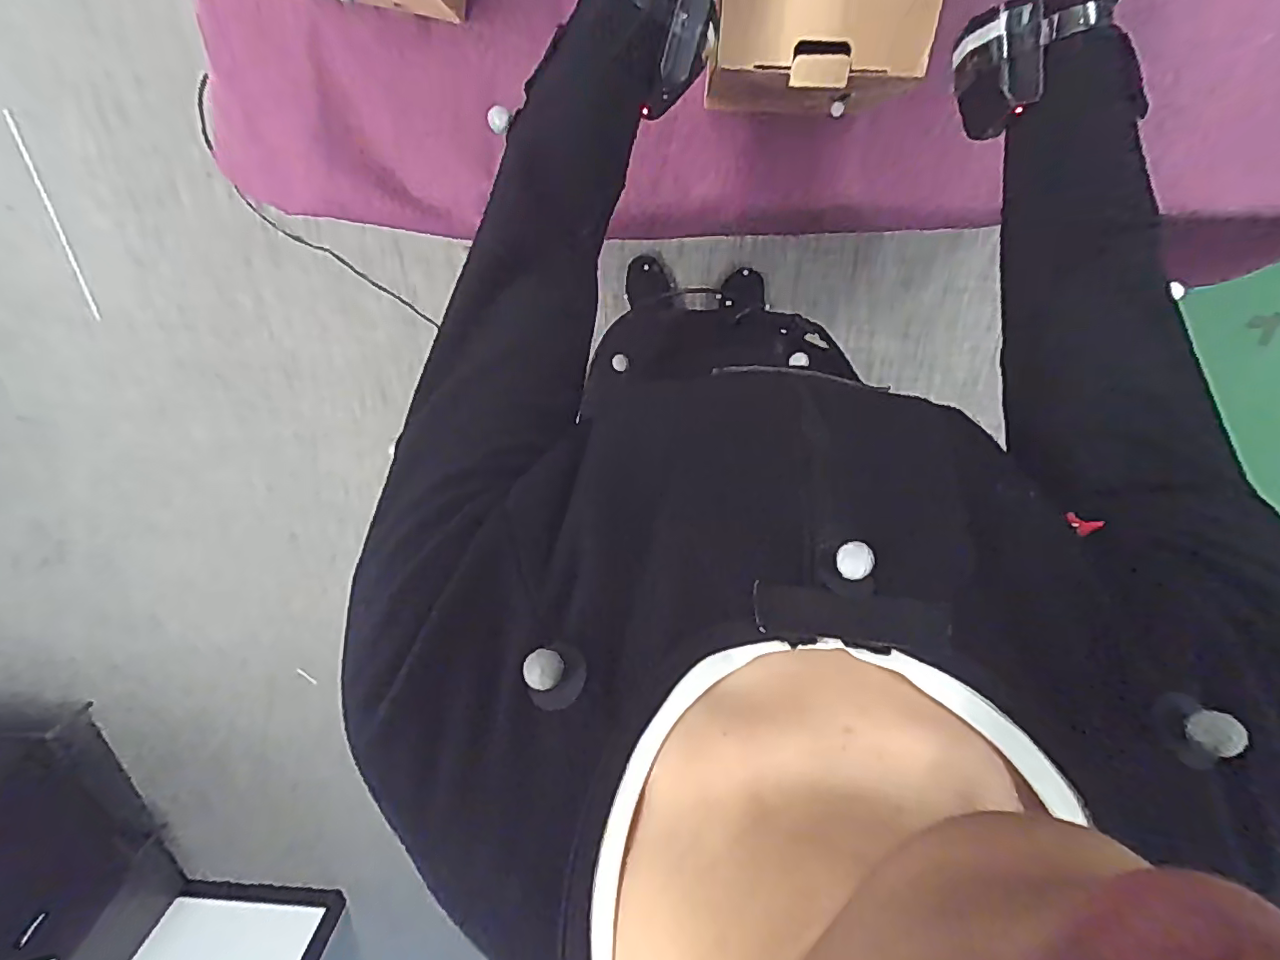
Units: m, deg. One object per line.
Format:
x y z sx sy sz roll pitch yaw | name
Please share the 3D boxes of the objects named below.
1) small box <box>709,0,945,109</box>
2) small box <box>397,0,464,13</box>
0.149 -0.426 0.448 0.168 0.176 0.179 4 116 2 | small box
-0.244 -0.519 0.434 0.168 0.176 0.179 11 117 -1 | small box
